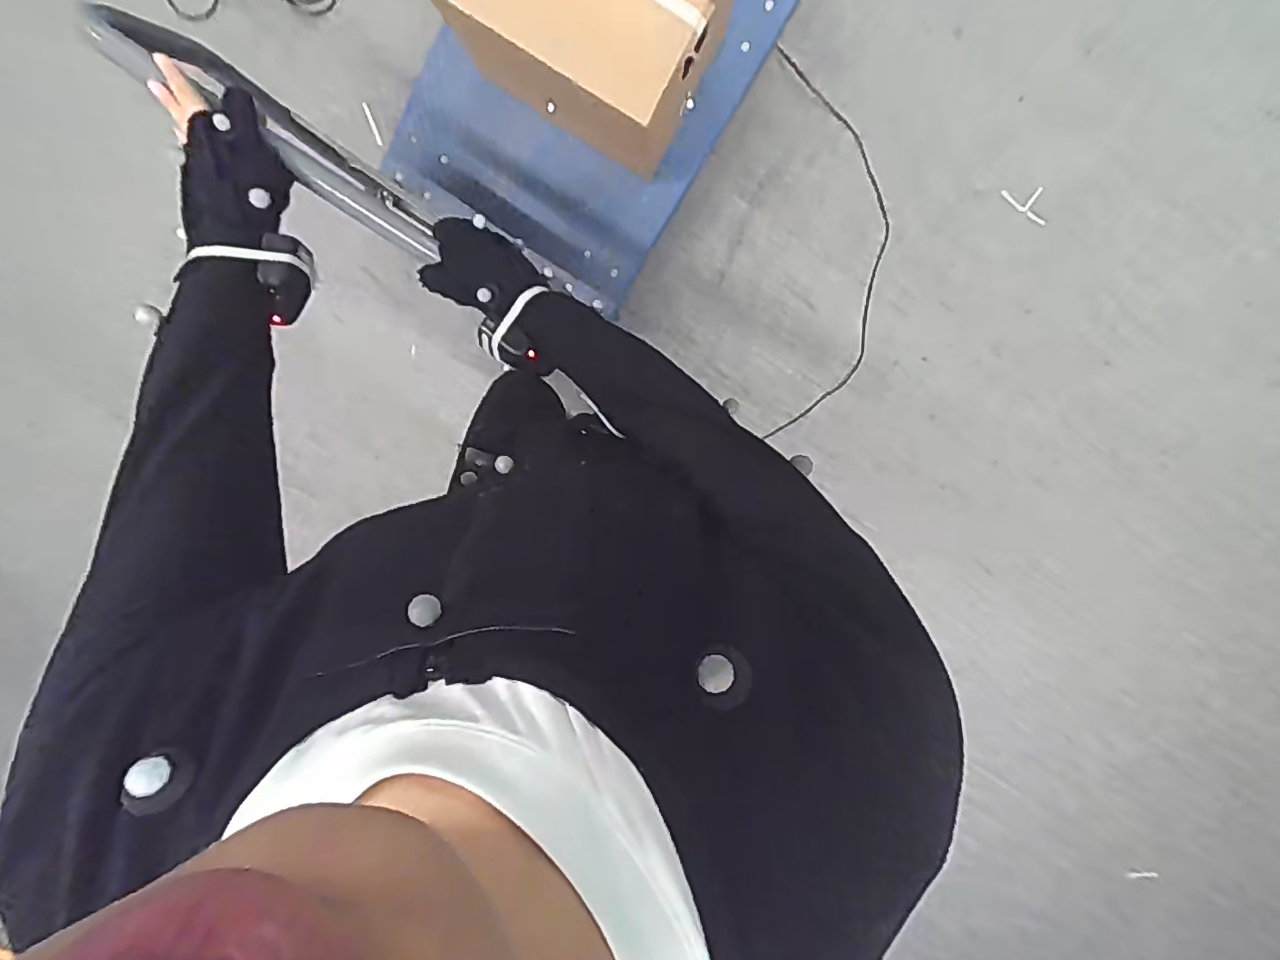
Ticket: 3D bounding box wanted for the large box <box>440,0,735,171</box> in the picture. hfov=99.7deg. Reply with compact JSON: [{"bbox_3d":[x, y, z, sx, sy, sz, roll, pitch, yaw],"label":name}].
[{"bbox_3d":[-0.073,-0.825,0.938,0.408,0.320,0.320,30,103,-5],"label":"large box"}]
